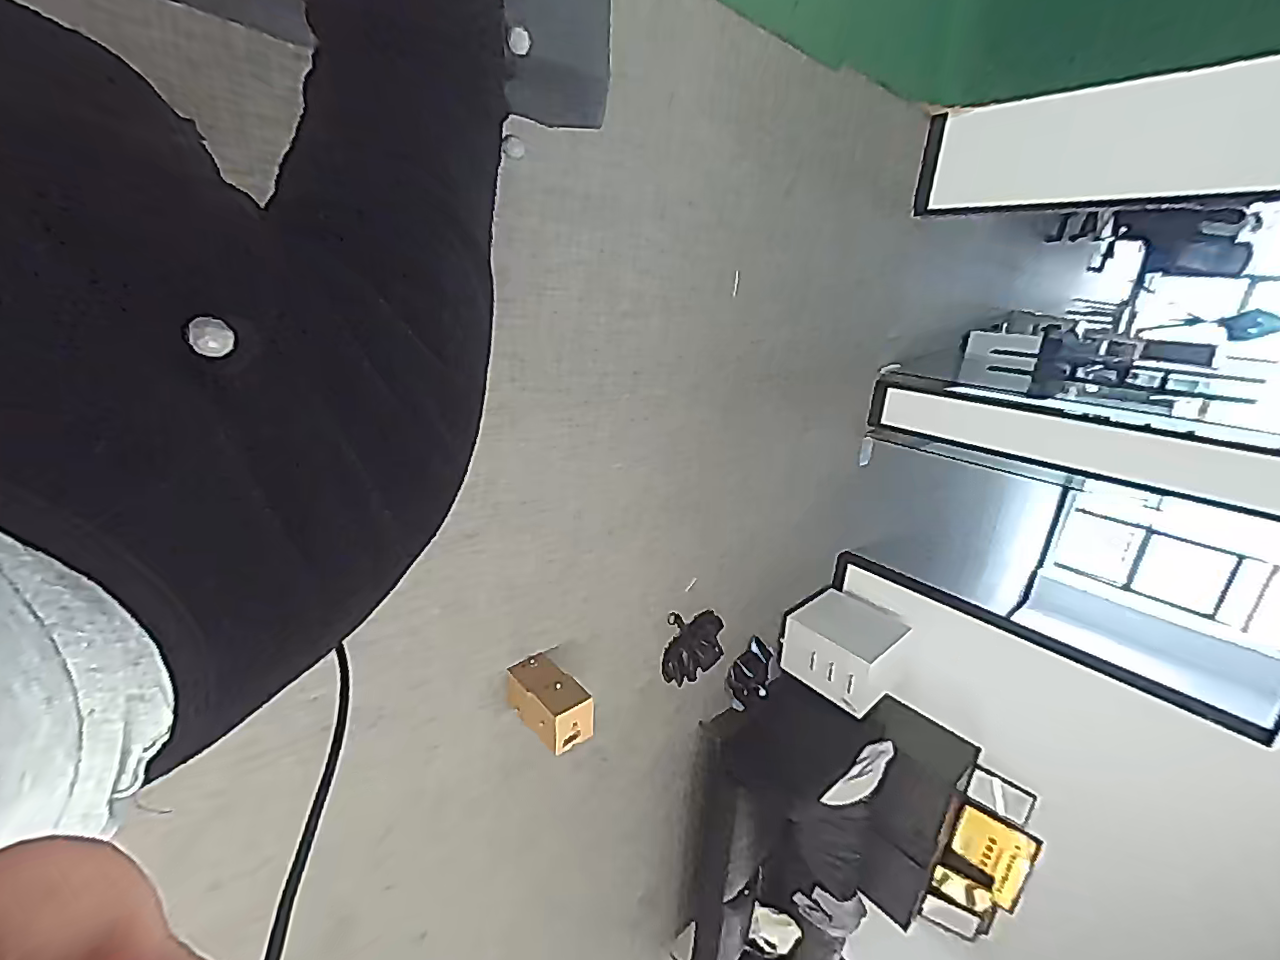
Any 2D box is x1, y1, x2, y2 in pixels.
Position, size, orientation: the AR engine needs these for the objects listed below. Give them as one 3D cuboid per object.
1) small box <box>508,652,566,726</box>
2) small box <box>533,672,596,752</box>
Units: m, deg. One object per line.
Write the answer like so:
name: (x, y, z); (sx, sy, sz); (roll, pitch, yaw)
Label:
small box: (-0.395, 0.802, 2.094); (0.168, 0.176, 0.179); (-17, 117, -40)
small box: (-0.279, 0.844, 1.985); (0.168, 0.176, 0.179); (-15, 116, -40)
